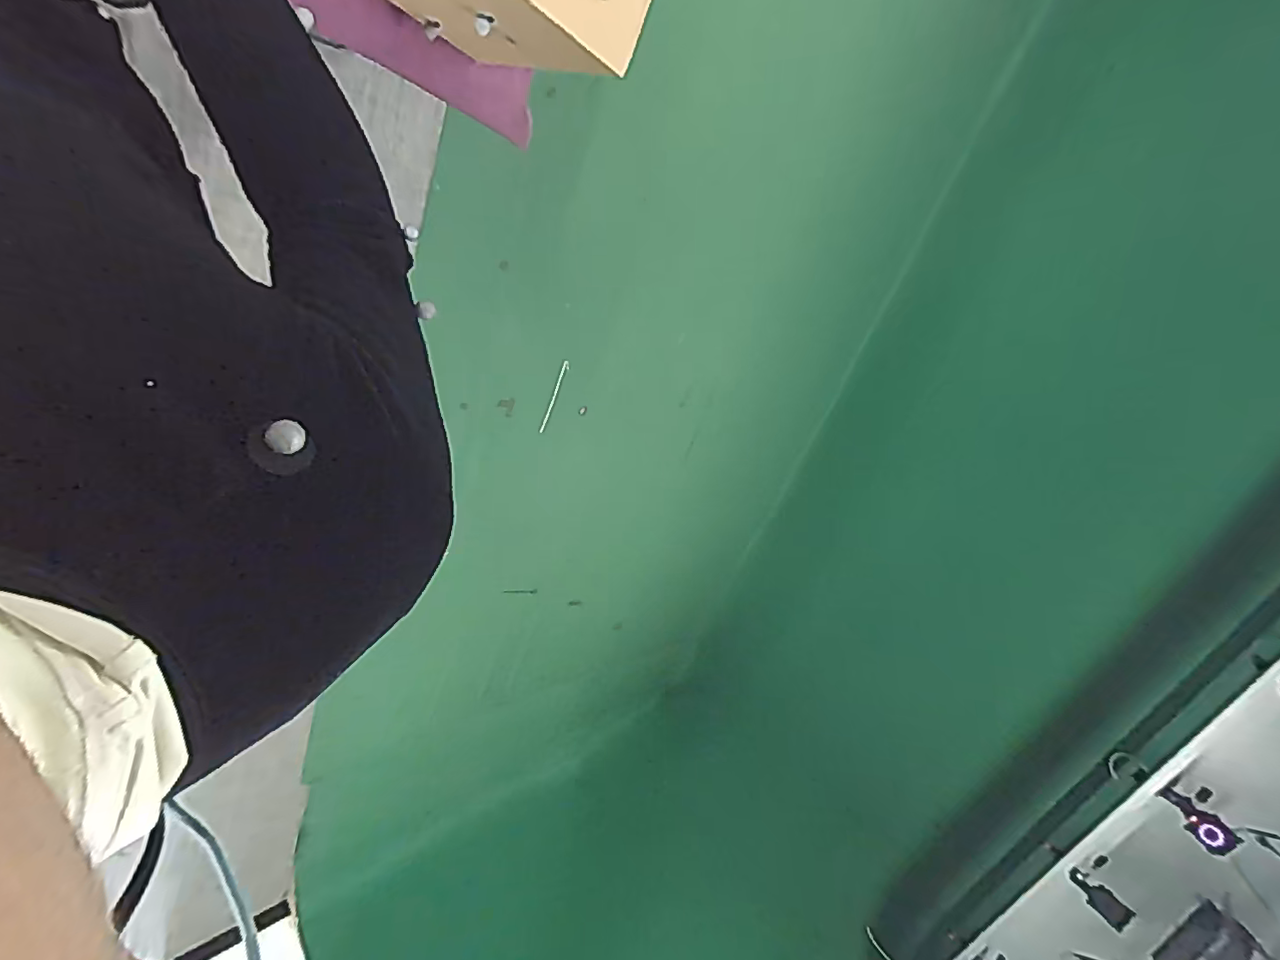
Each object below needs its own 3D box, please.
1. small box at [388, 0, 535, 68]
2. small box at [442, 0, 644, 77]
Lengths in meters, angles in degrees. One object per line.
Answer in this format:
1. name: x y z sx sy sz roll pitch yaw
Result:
1. small box: -0.206 -0.623 0.625 0.179 0.176 0.168 1 118 -50
2. small box: -0.097 -0.544 0.533 0.168 0.176 0.179 3 118 -48
